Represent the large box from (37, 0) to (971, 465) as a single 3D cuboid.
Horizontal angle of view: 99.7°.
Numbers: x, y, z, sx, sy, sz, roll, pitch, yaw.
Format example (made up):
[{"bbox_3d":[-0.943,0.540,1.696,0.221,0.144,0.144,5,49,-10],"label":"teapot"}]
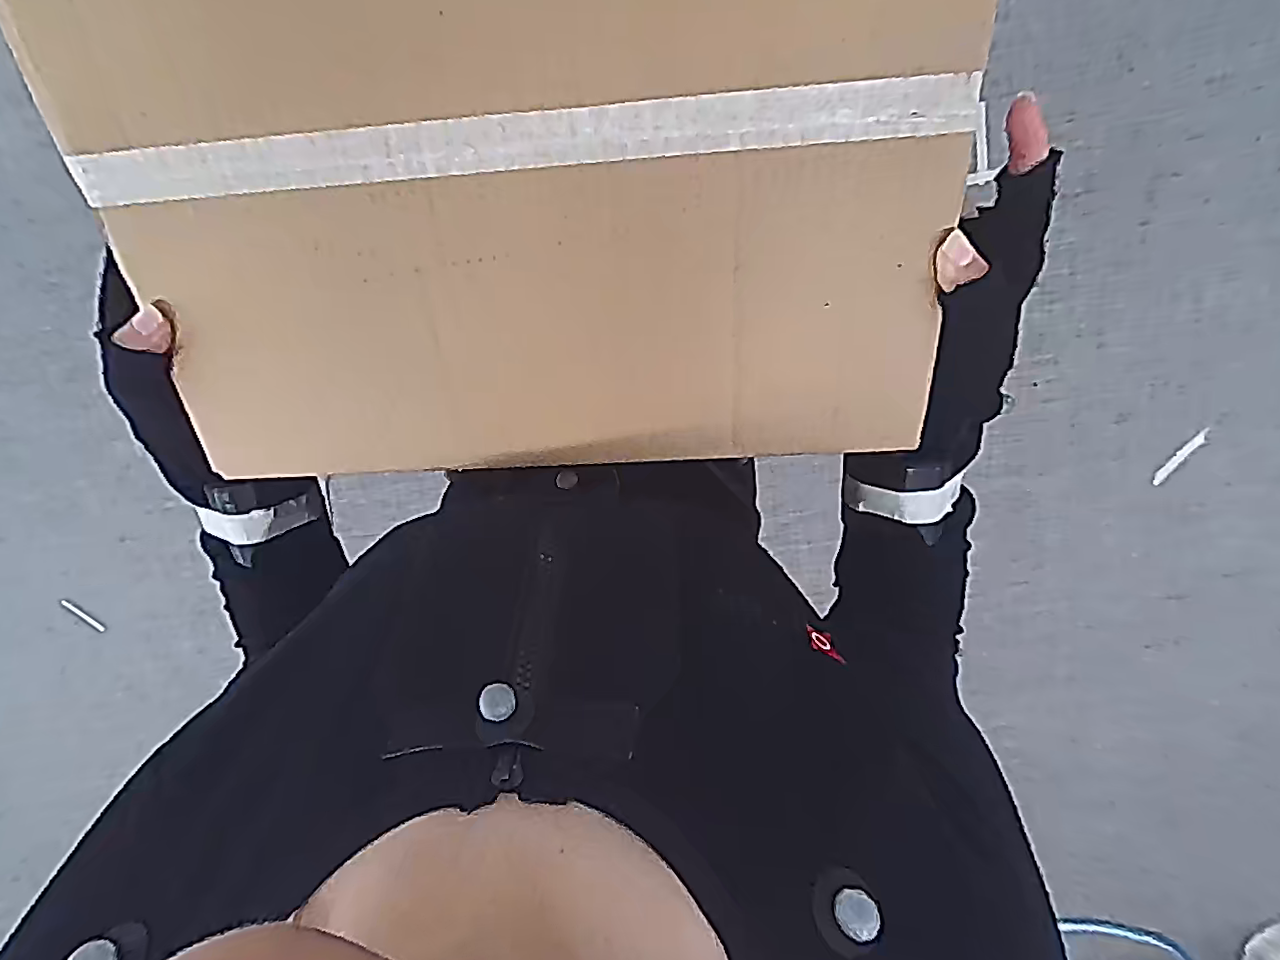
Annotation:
[{"bbox_3d":[-0.055,-0.222,0.384,0.408,0.320,0.320,-3,117,4],"label":"large box"}]
